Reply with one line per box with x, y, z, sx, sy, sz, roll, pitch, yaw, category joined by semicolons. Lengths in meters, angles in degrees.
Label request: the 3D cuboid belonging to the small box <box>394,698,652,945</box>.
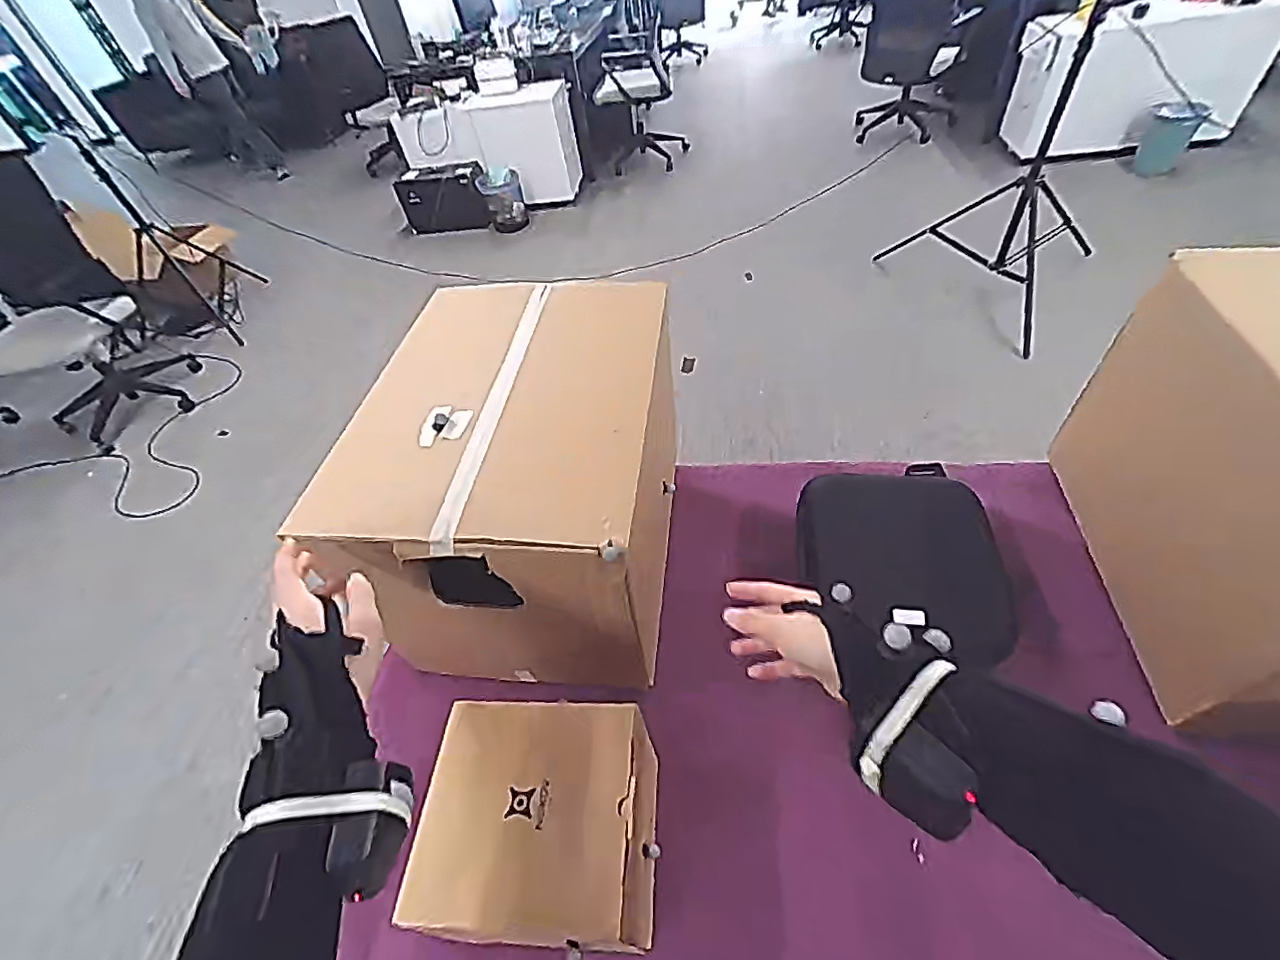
-0.086;0.318;0.504;0.179;0.176;0.168;-2;47;6;small box

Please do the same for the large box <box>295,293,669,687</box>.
-0.127;0.006;0.695;0.320;0.320;0.408;0;51;8;large box
